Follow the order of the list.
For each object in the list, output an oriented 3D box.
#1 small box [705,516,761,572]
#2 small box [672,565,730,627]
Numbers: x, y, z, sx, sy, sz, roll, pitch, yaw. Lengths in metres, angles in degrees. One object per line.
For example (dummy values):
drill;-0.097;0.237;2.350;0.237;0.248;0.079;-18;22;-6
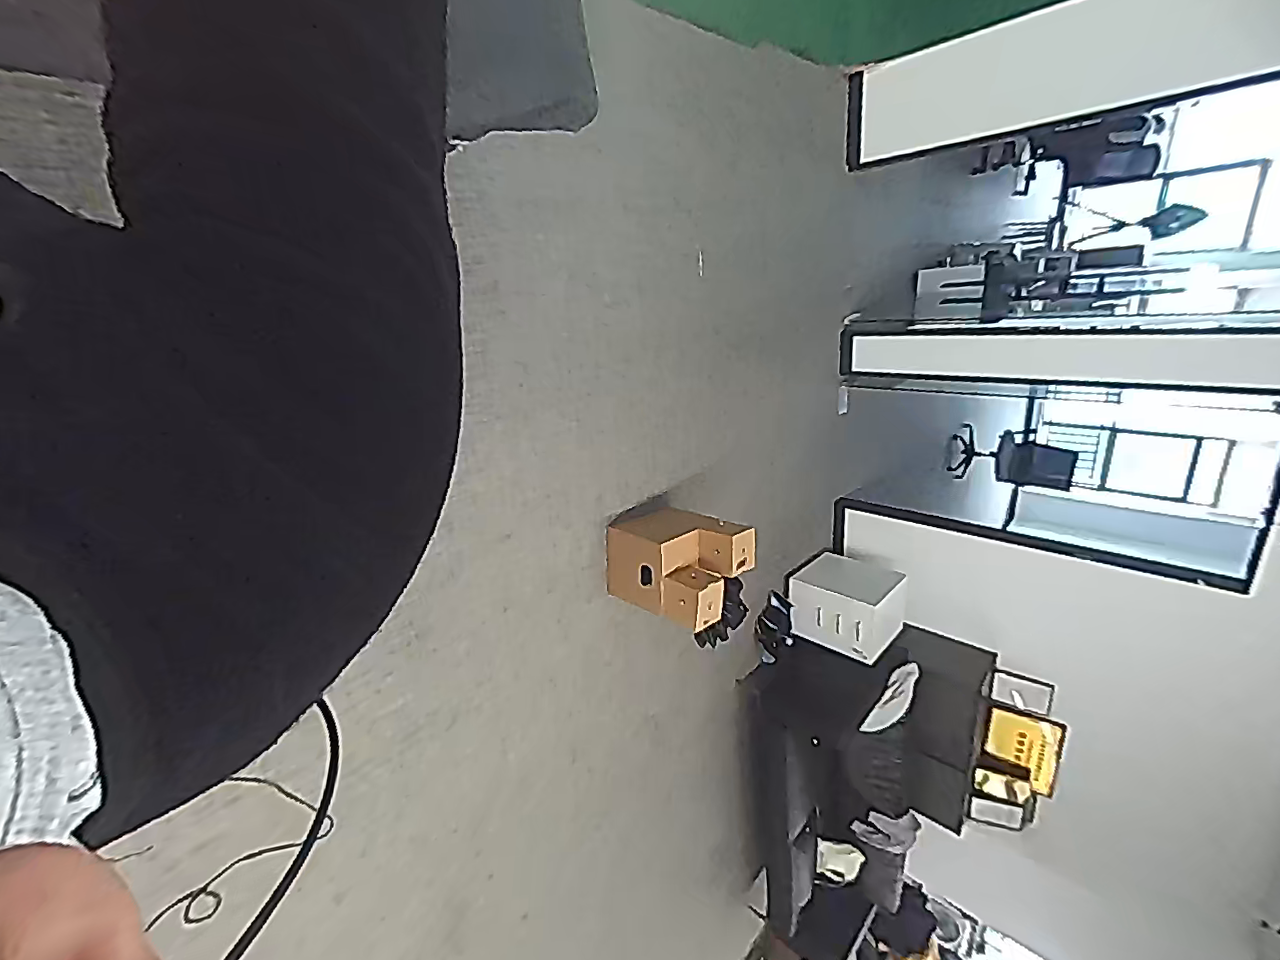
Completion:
small box;0.383;0.259;2.240;0.168;0.176;0.179;-15;107;-45
small box;0.238;0.446;2.124;0.168;0.176;0.179;-15;111;-45
